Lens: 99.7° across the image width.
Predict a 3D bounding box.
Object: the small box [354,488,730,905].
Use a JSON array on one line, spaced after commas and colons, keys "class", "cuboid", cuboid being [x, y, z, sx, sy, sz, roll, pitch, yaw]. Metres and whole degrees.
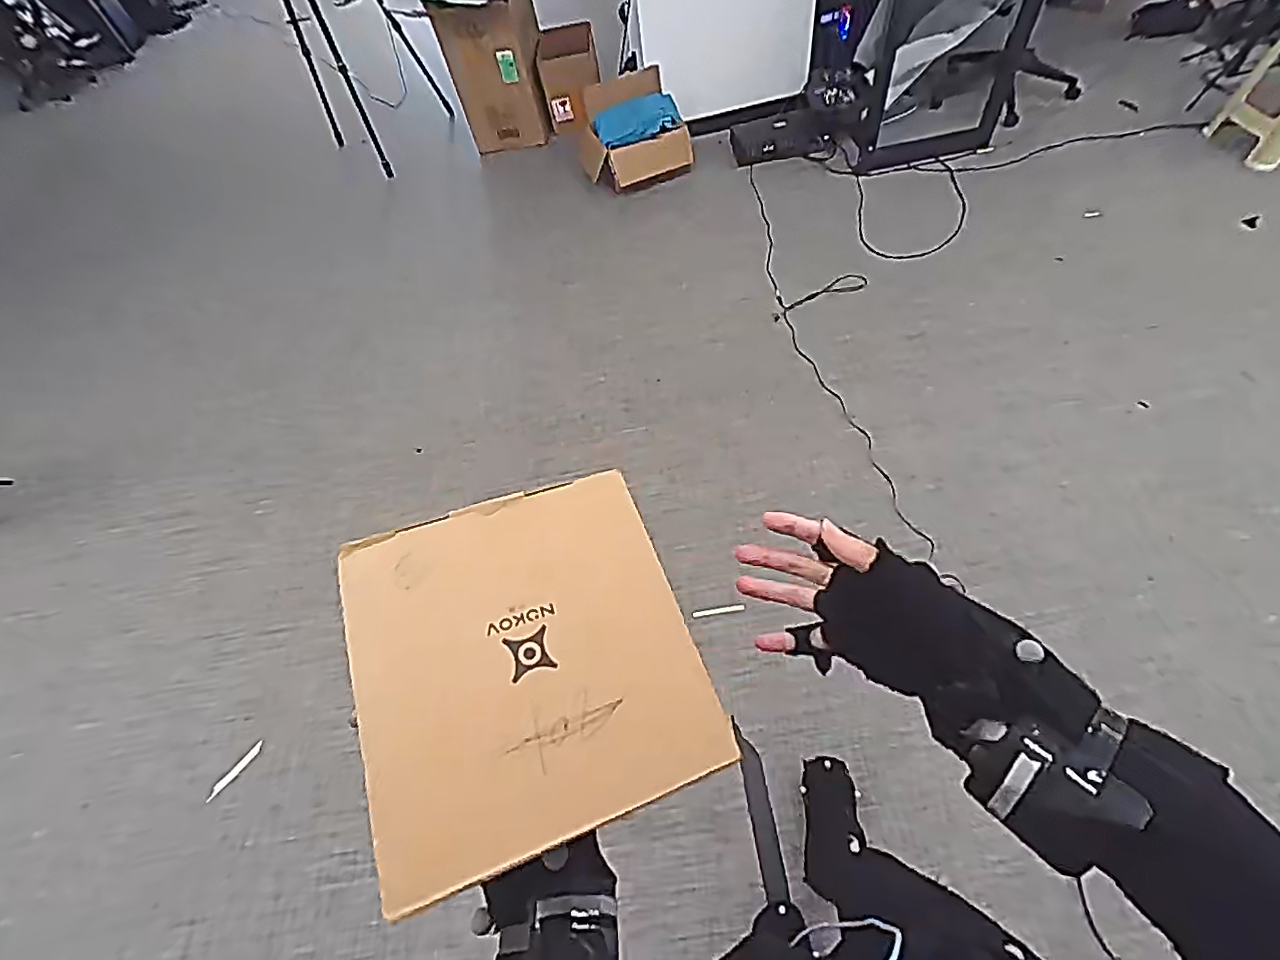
[{"class": "small box", "cuboid": [-0.067, 0.135, 0.359, 0.168, 0.176, 0.179, -16, 63, -16]}]
